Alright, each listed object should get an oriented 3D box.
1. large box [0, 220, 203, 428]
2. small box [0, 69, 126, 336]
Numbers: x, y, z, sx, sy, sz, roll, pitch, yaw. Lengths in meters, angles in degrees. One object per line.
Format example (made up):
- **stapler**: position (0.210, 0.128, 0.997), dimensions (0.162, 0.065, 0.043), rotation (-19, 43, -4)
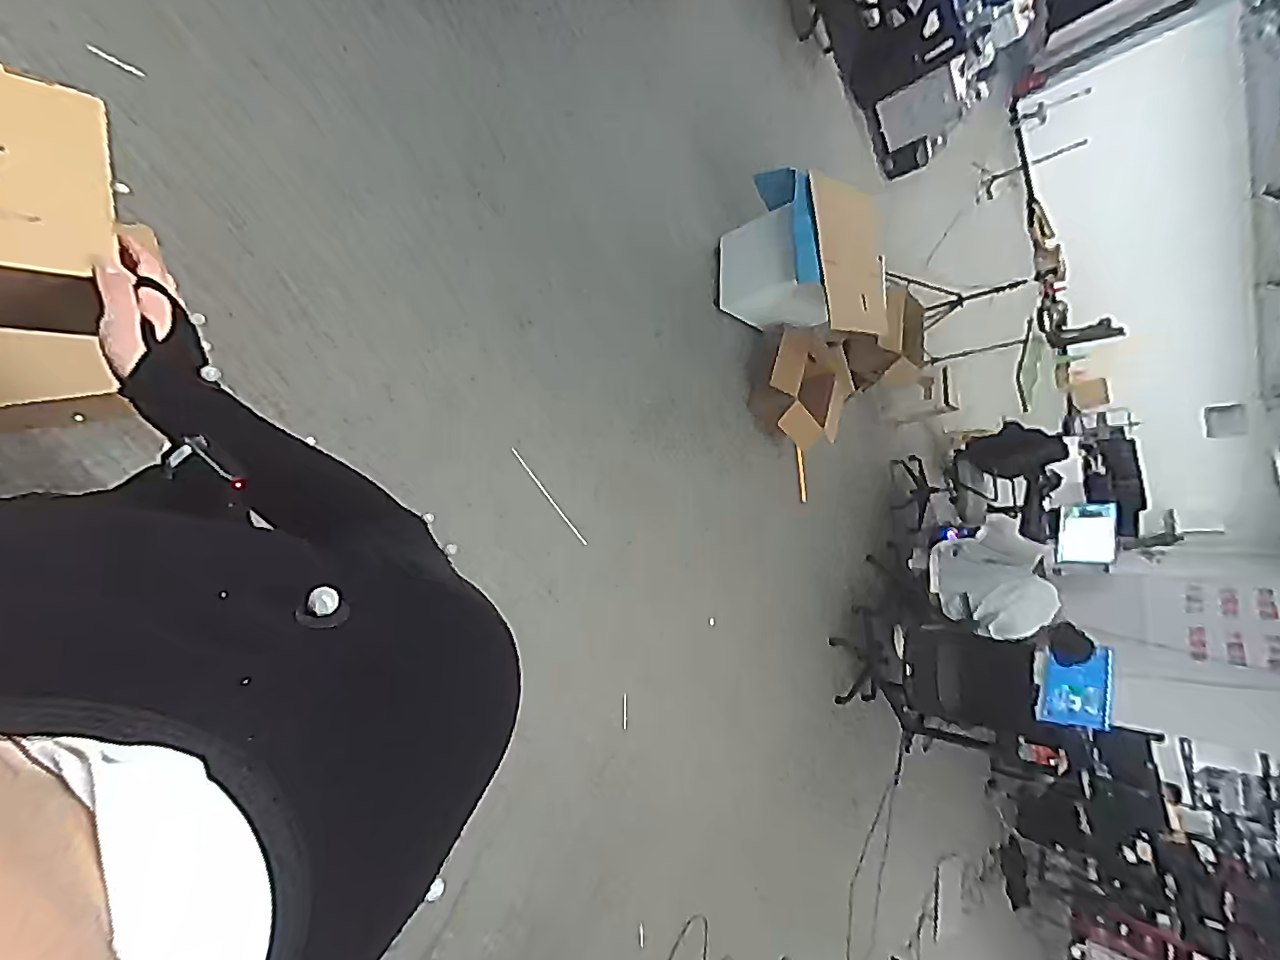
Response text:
- **large box**: position (-1.156, -0.290, 1.044), dimensions (0.408, 0.320, 0.320), rotation (-22, 102, -42)
- **small box**: position (-0.592, -0.249, 0.491), dimensions (0.168, 0.176, 0.179), rotation (-6, 88, -46)
